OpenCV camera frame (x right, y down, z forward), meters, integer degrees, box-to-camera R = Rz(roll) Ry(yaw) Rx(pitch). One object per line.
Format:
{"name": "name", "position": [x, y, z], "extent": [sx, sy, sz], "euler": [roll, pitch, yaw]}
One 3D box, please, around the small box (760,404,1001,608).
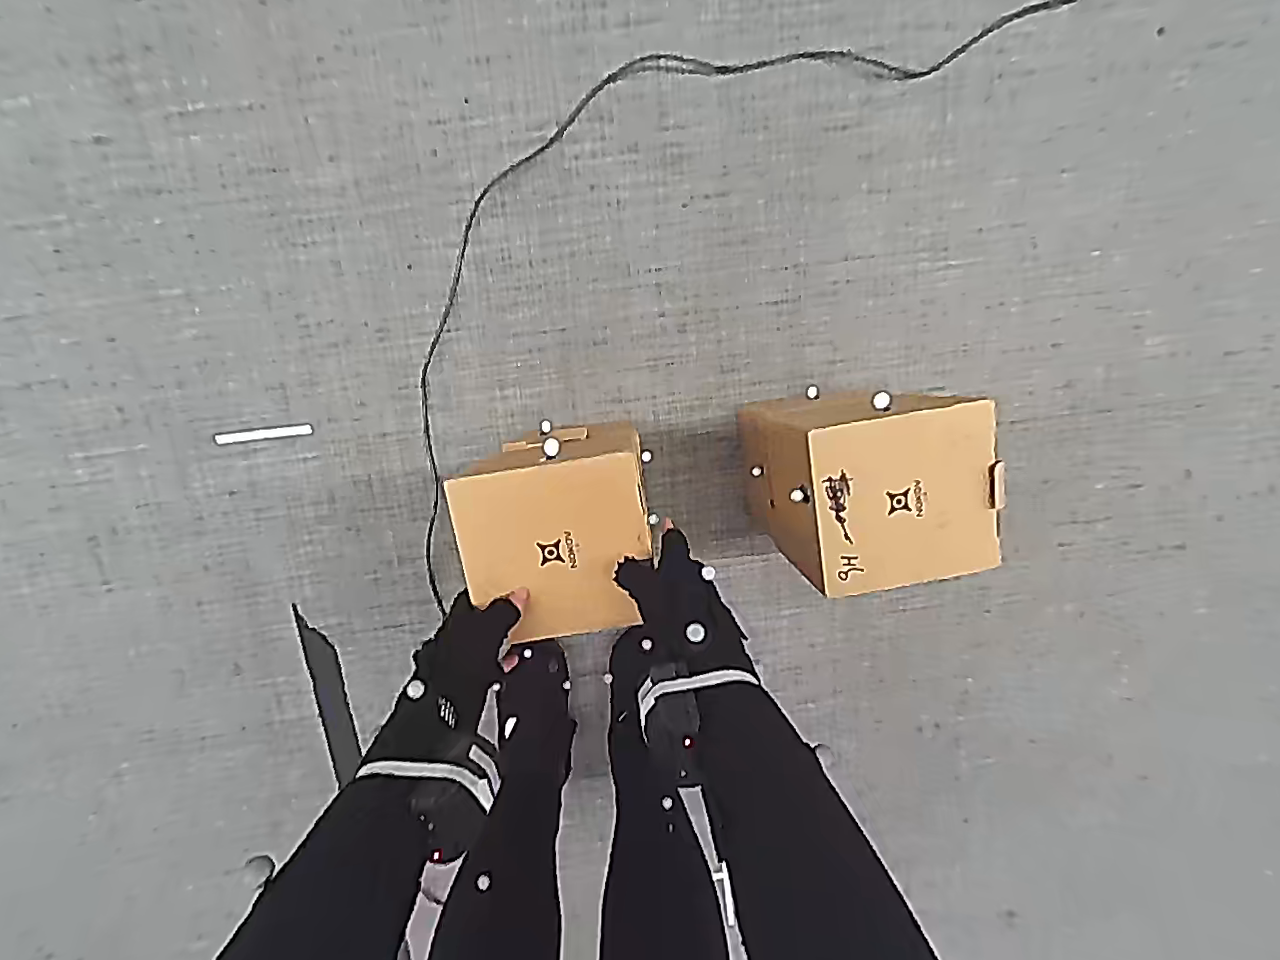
{"name": "small box", "position": [0.243, 0.014, 0.576], "extent": [0.179, 0.176, 0.168], "euler": [-9, 101, -2]}

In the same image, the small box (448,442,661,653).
{"name": "small box", "position": [-0.078, 0.058, 0.574], "extent": [0.179, 0.176, 0.168], "euler": [-9, 101, -1]}

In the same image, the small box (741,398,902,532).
{"name": "small box", "position": [0.242, -0.016, 0.738], "extent": [0.168, 0.176, 0.179], "euler": [-9, 102, -1]}

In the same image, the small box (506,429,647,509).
{"name": "small box", "position": [-0.076, 0.026, 0.733], "extent": [0.168, 0.176, 0.179], "euler": [-5, 102, -1]}
